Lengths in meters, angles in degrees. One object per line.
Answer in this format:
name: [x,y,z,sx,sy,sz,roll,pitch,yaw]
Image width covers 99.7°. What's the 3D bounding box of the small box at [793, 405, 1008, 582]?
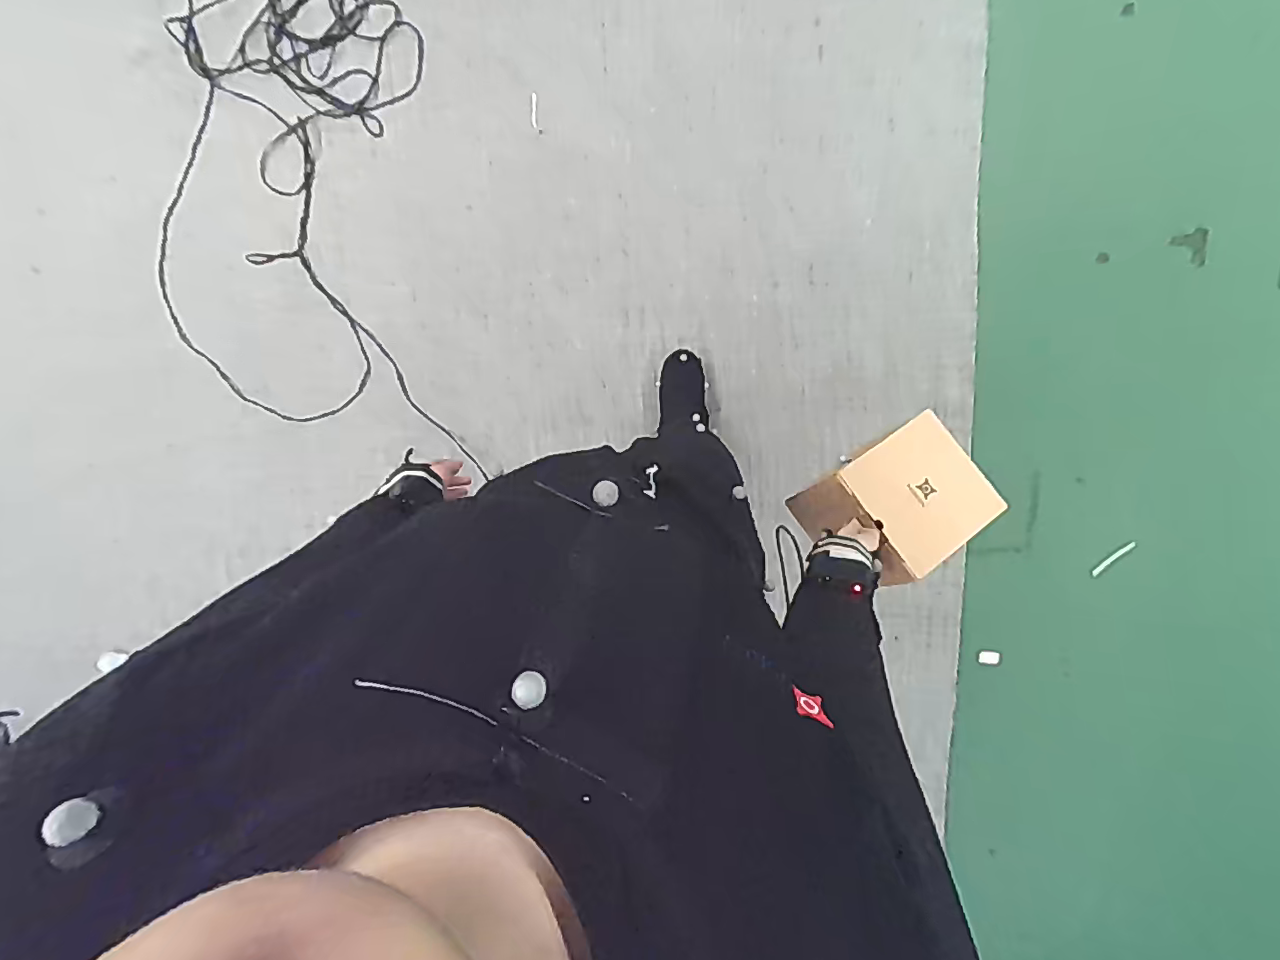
small box: [0.353,0.027,0.766,0.179,0.176,0.168,-34,83,-15]
